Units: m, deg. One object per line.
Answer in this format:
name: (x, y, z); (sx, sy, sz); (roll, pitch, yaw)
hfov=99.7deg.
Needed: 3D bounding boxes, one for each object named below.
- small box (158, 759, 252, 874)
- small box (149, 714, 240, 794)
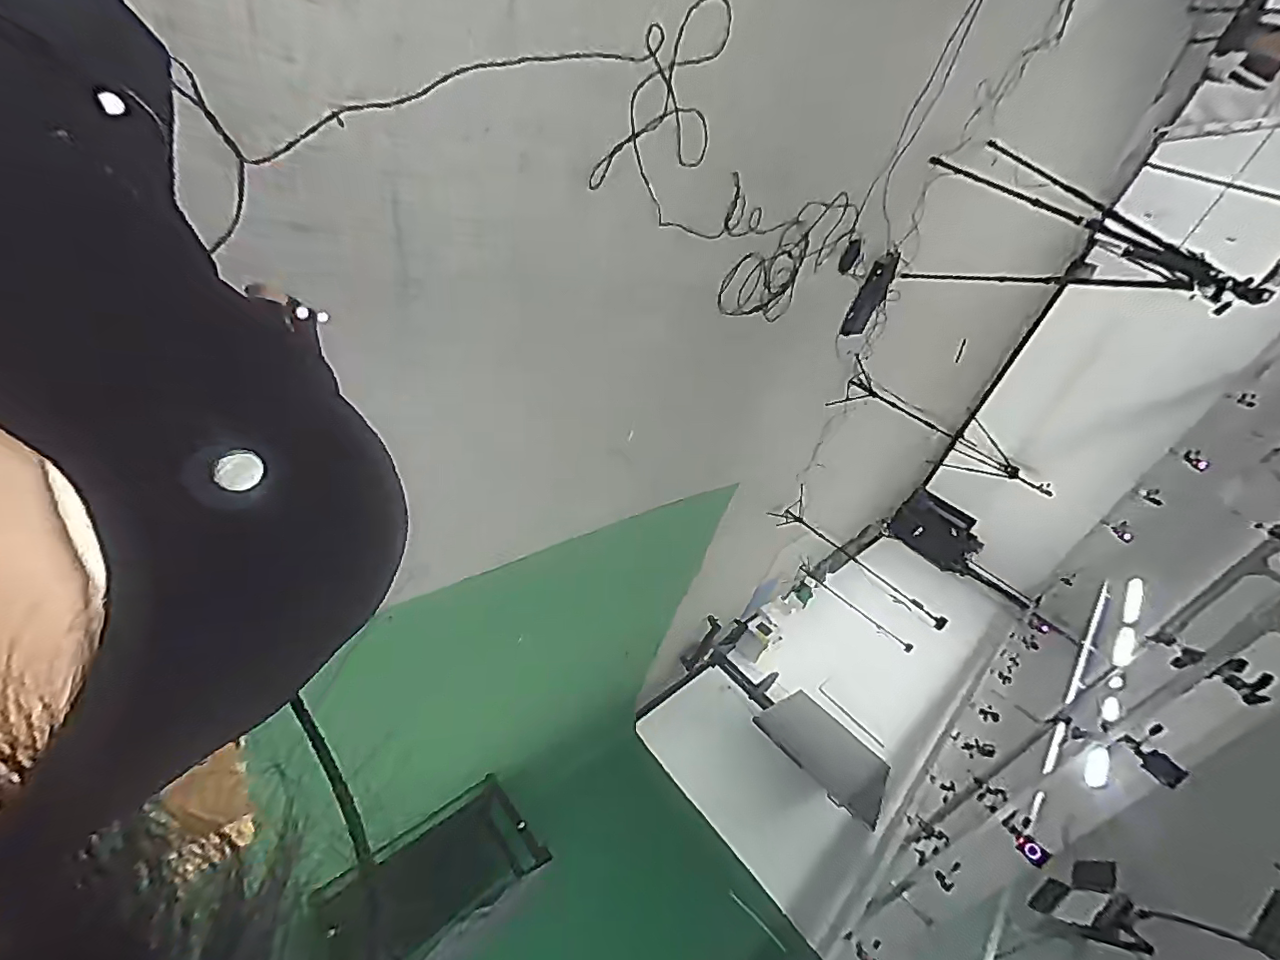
small box: (-1.205, 0.922, 1.495); (0.179, 0.176, 0.168); (-14, 135, -44)
small box: (-1.306, 0.829, 1.588); (0.179, 0.176, 0.168); (-13, 133, -44)
